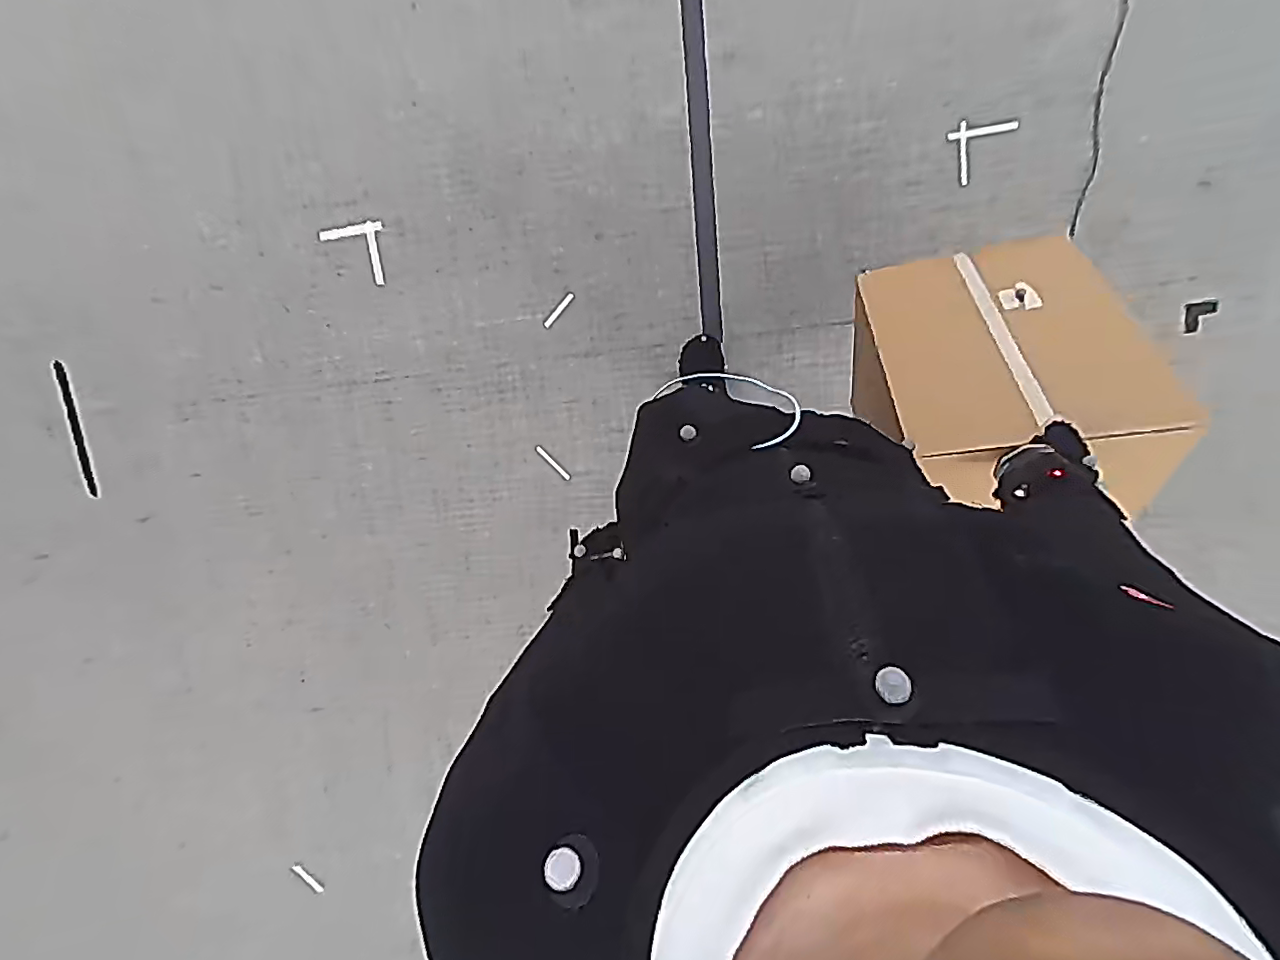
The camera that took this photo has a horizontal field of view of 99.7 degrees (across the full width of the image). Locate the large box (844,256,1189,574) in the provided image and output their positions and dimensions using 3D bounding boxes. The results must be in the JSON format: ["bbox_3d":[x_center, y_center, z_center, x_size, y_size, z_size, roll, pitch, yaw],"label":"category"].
[{"bbox_3d":[0.539,-0.101,0.893,0.320,0.408,0.320,-6,139,12],"label":"large box"}]
